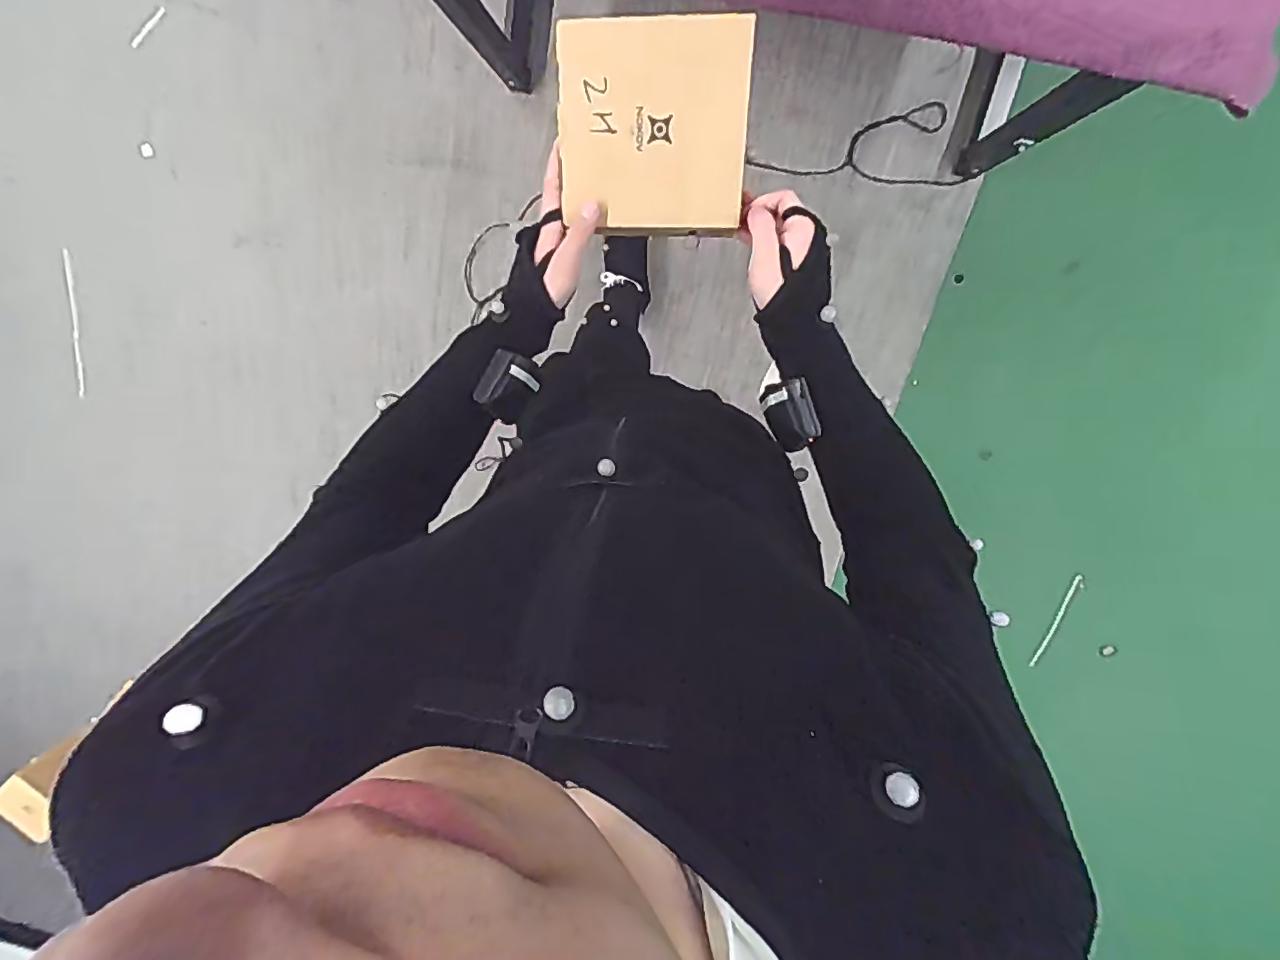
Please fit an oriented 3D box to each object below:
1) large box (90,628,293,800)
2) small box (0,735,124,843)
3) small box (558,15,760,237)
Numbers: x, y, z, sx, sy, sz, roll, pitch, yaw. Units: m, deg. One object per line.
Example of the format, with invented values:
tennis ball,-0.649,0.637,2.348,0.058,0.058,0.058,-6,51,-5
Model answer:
large box,-1.562,0.813,1.911,0.408,0.320,0.320,44,108,-8
small box,-1.613,0.844,1.498,0.168,0.176,0.179,-40,100,15
small box,0.021,-0.347,0.561,0.179,0.176,0.168,4,112,6
